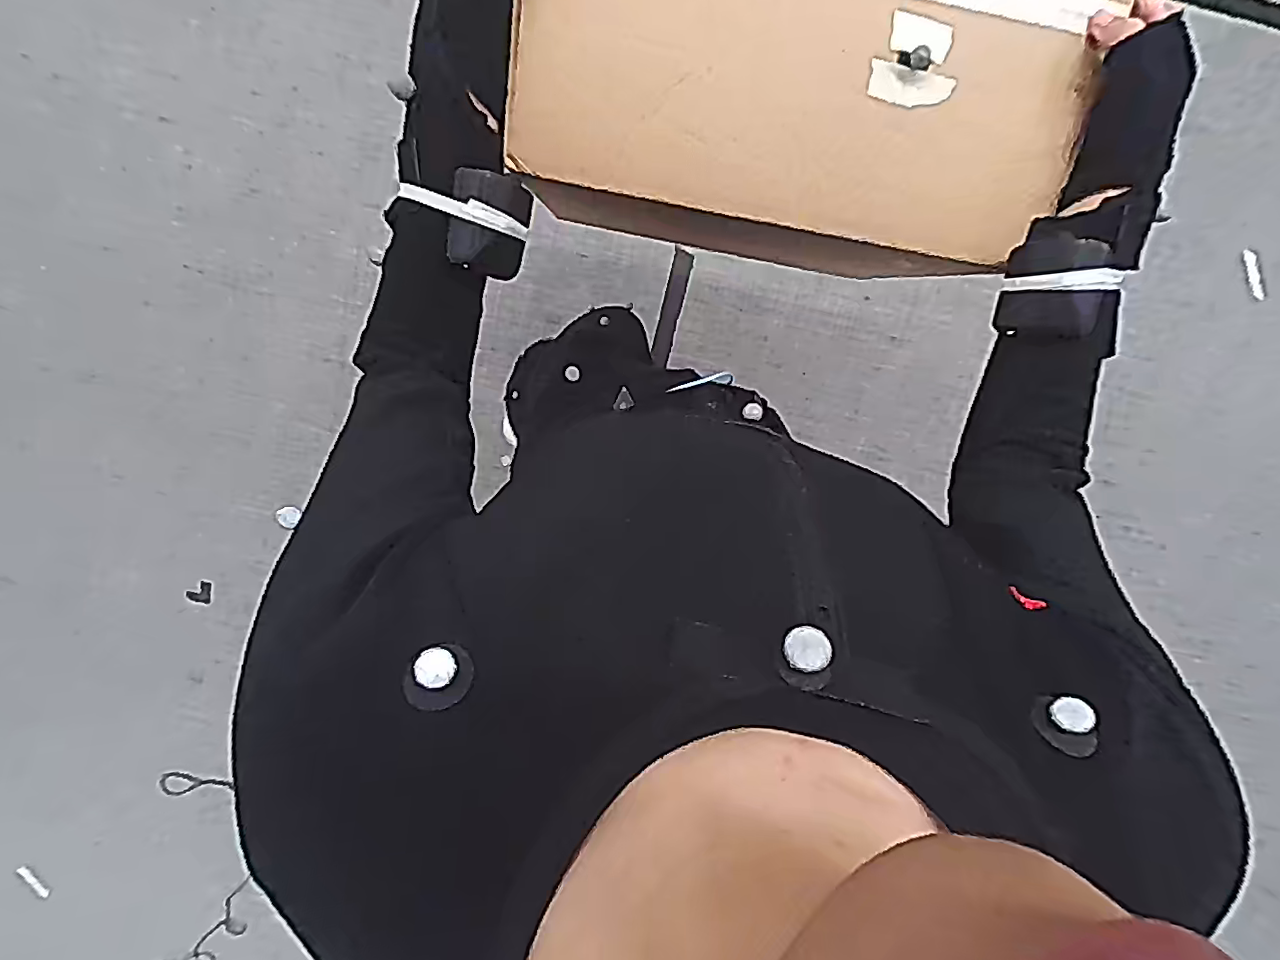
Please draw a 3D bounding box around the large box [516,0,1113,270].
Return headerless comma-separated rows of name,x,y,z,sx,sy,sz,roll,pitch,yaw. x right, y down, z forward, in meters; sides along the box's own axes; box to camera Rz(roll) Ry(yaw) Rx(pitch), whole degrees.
large box,0.119,-0.391,0.501,0.408,0.320,0.320,8,111,-6
